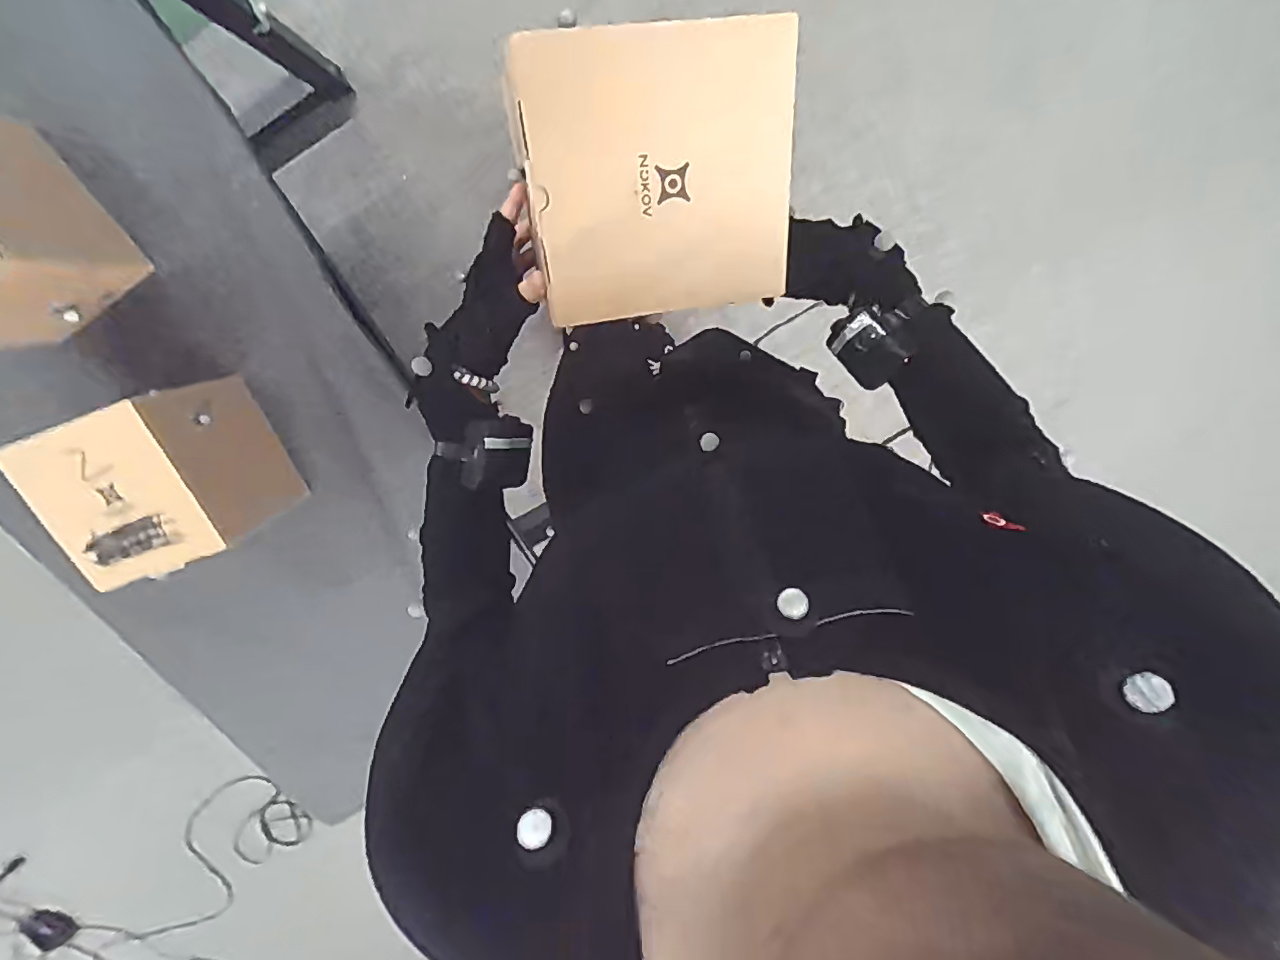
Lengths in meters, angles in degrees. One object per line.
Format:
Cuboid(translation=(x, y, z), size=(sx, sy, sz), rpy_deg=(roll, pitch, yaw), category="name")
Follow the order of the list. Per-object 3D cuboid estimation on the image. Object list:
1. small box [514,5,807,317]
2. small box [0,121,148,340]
Cuboid(translation=(0.004, -0.237, 0.415), size=(0.179, 0.176, 0.168), rpy_deg=(-10, 121, -7), category="small box")
Cuboid(translation=(-0.680, -0.252, 0.544), size=(0.168, 0.176, 0.179), rpy_deg=(-30, 108, 9), category="small box")
